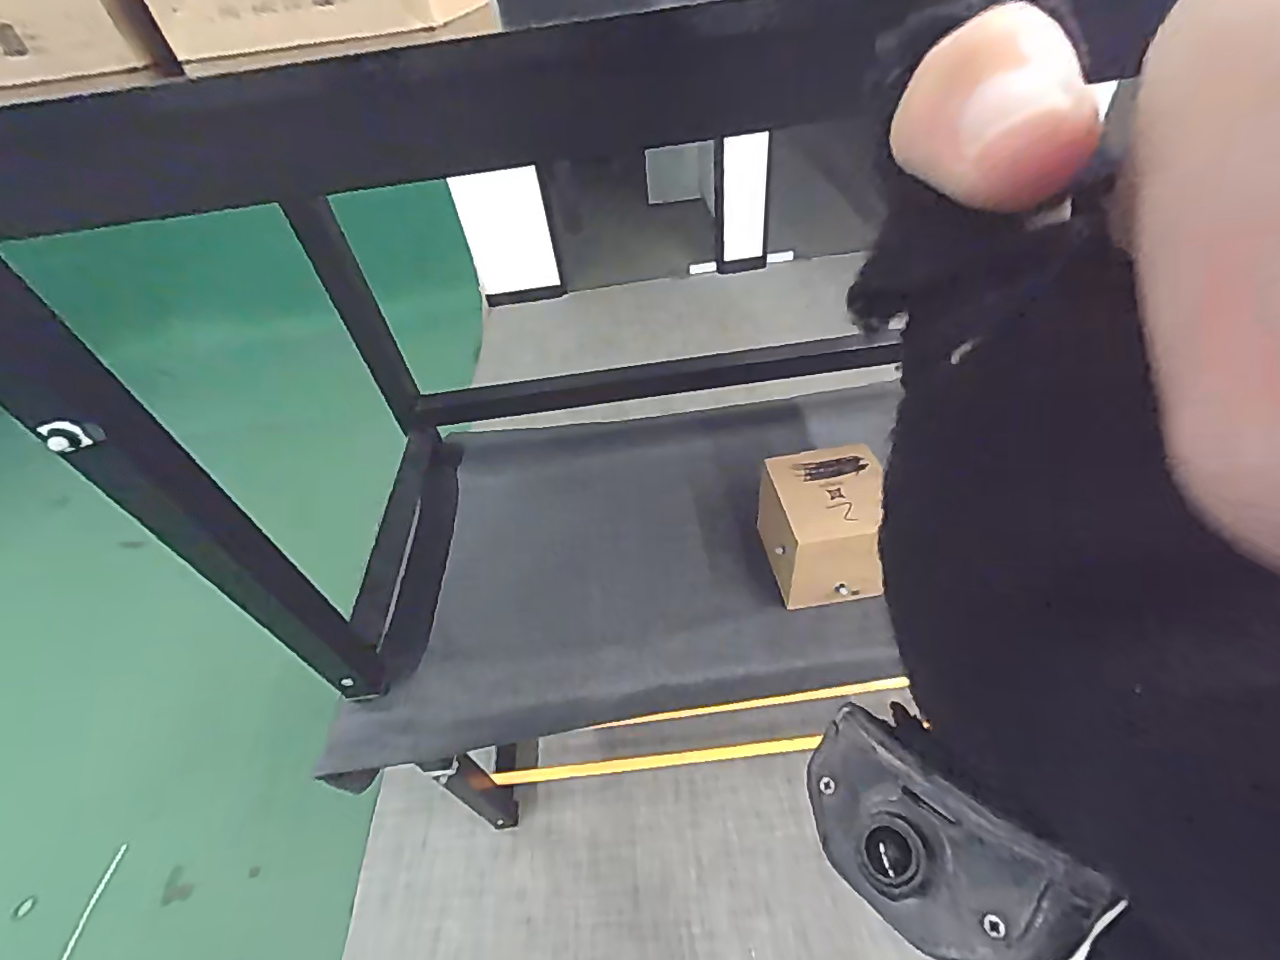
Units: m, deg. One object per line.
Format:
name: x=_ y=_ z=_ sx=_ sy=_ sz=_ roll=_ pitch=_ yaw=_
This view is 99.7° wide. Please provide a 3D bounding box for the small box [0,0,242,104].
small box: x=-0.396 y=-0.348 z=0.332 sx=0.168 sy=0.176 sz=0.179 roll=-8 pitch=46 yaw=0
